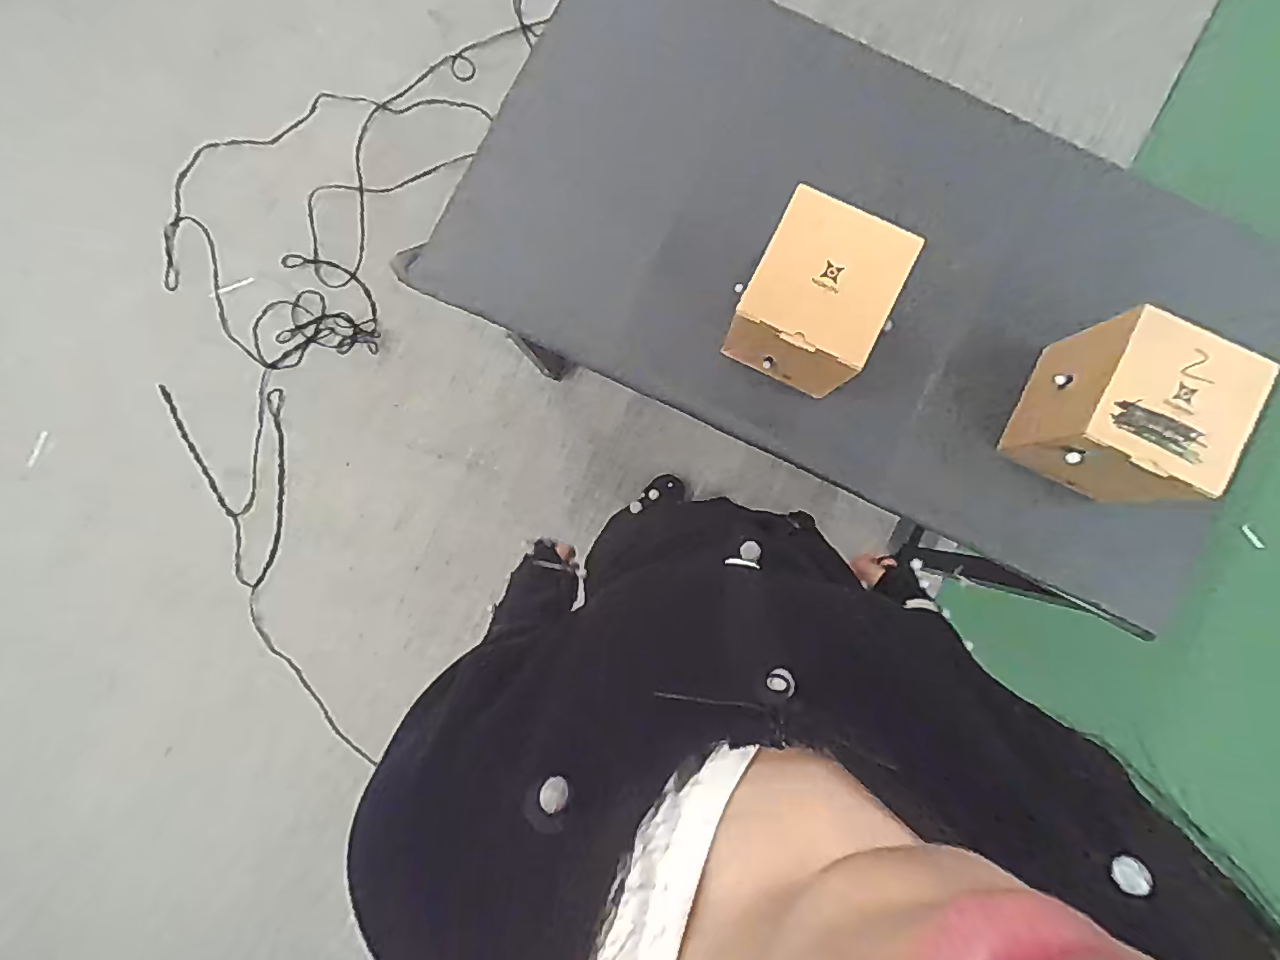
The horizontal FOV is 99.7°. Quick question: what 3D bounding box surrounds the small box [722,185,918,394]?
[{"bbox_3d":[0.222,-0.238,0.719,0.168,0.176,0.179,26,89,2],"label":"small box"}]
